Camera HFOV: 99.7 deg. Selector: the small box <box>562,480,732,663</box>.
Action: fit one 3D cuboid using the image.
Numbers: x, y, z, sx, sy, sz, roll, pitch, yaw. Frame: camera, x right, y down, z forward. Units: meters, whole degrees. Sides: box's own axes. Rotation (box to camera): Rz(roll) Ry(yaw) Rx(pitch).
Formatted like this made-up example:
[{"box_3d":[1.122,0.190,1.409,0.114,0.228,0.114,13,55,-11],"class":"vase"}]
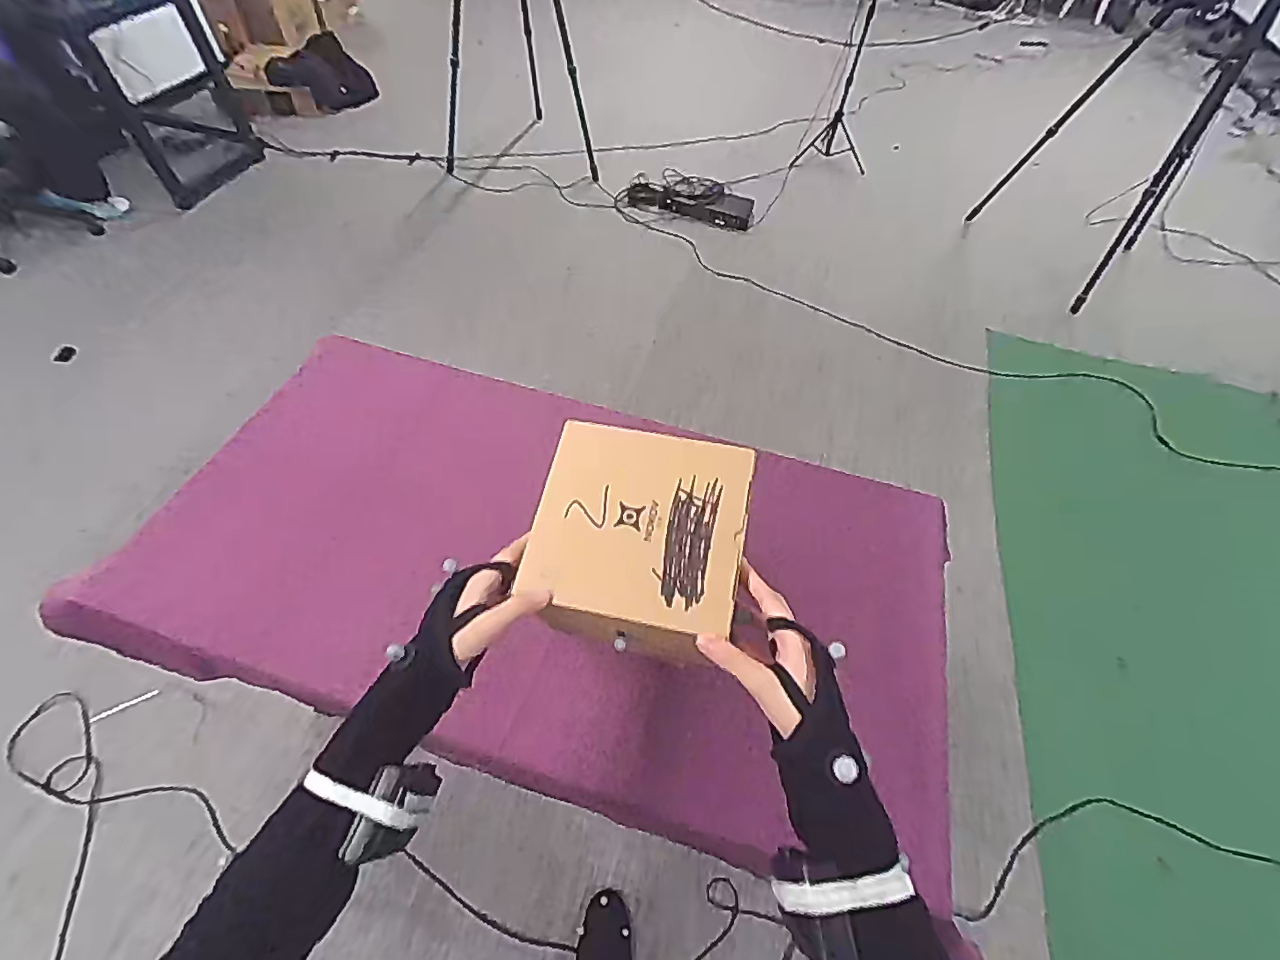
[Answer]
[{"box_3d":[0.009,0.132,0.743,0.179,0.176,0.168,17,55,8],"class":"small box"}]
